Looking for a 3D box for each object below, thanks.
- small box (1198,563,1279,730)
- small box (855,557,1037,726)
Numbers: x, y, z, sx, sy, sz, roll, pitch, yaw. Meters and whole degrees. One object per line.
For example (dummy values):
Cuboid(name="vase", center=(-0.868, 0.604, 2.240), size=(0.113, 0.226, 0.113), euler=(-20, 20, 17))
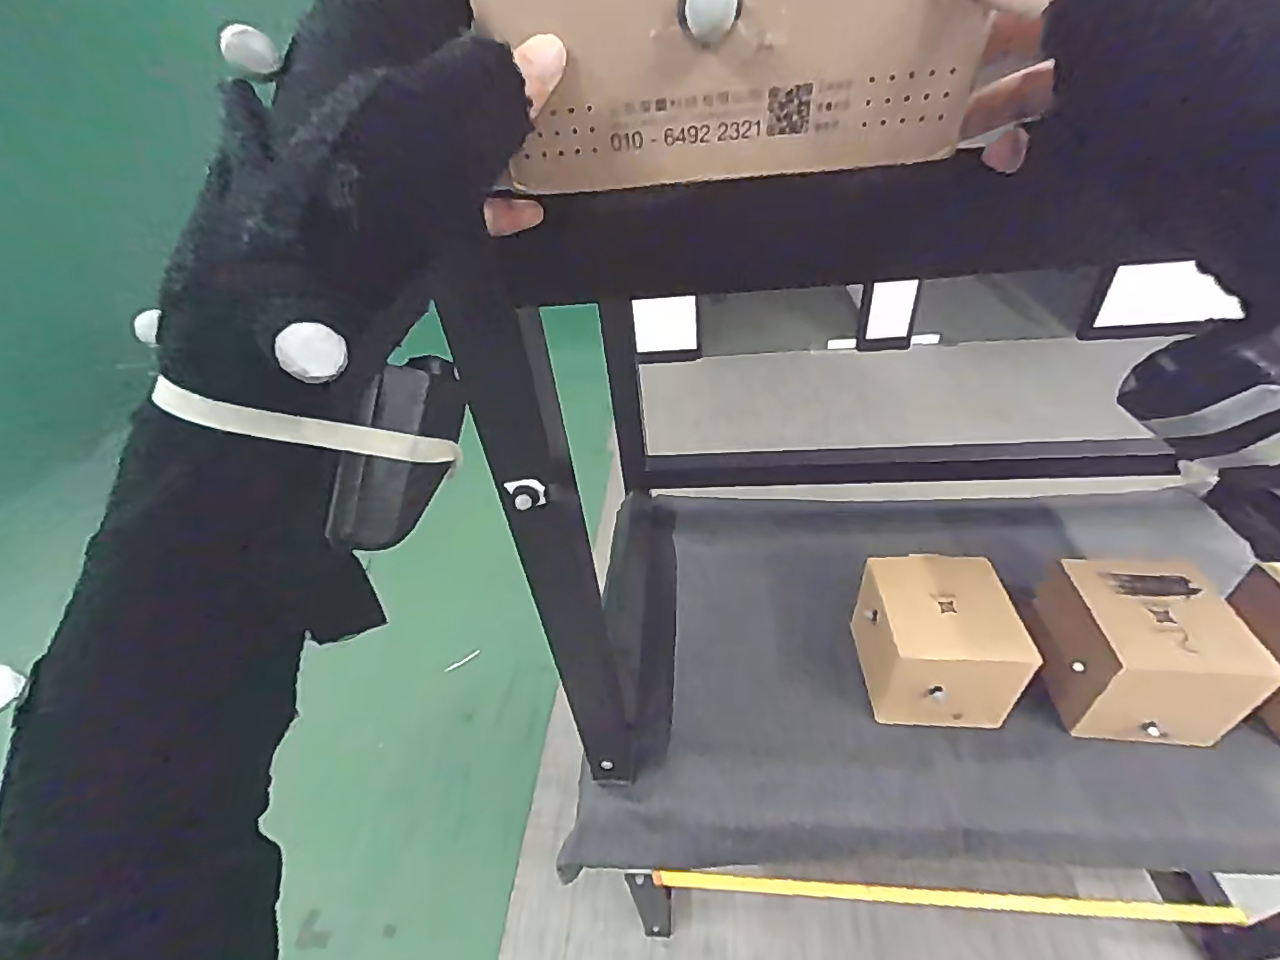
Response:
Cuboid(name="small box", center=(0.908, 0.226, 0.700), size=(0.168, 0.176, 0.179), euler=(-2, 37, 7))
Cuboid(name="small box", center=(0.421, 0.232, 0.780), size=(0.168, 0.176, 0.179), euler=(-1, 38, 8))
